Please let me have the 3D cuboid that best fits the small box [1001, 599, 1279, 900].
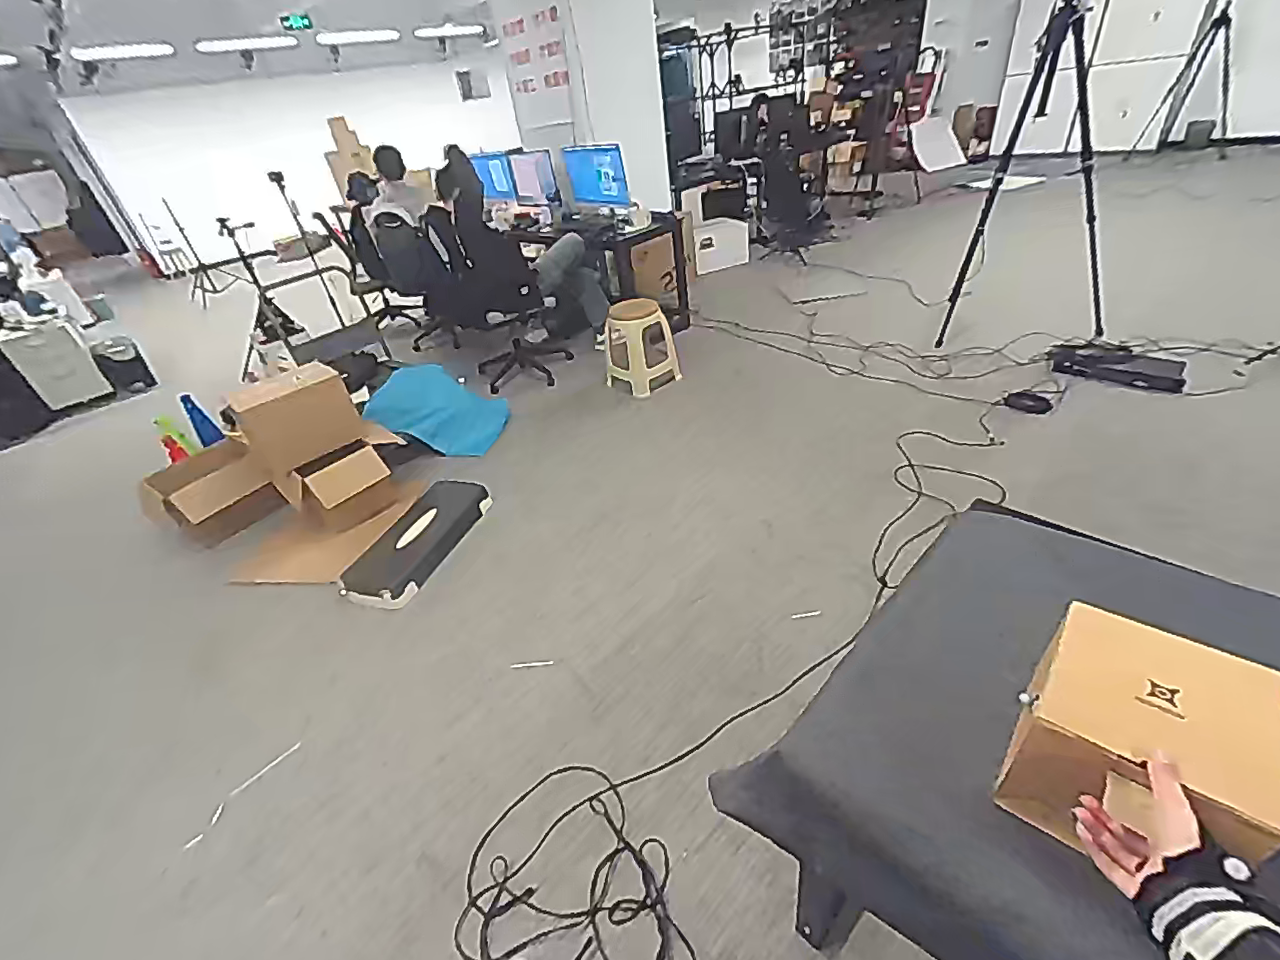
[{"bbox_3d":[0.495,0.263,0.549,0.168,0.176,0.179,22,46,36],"label":"small box"}]
